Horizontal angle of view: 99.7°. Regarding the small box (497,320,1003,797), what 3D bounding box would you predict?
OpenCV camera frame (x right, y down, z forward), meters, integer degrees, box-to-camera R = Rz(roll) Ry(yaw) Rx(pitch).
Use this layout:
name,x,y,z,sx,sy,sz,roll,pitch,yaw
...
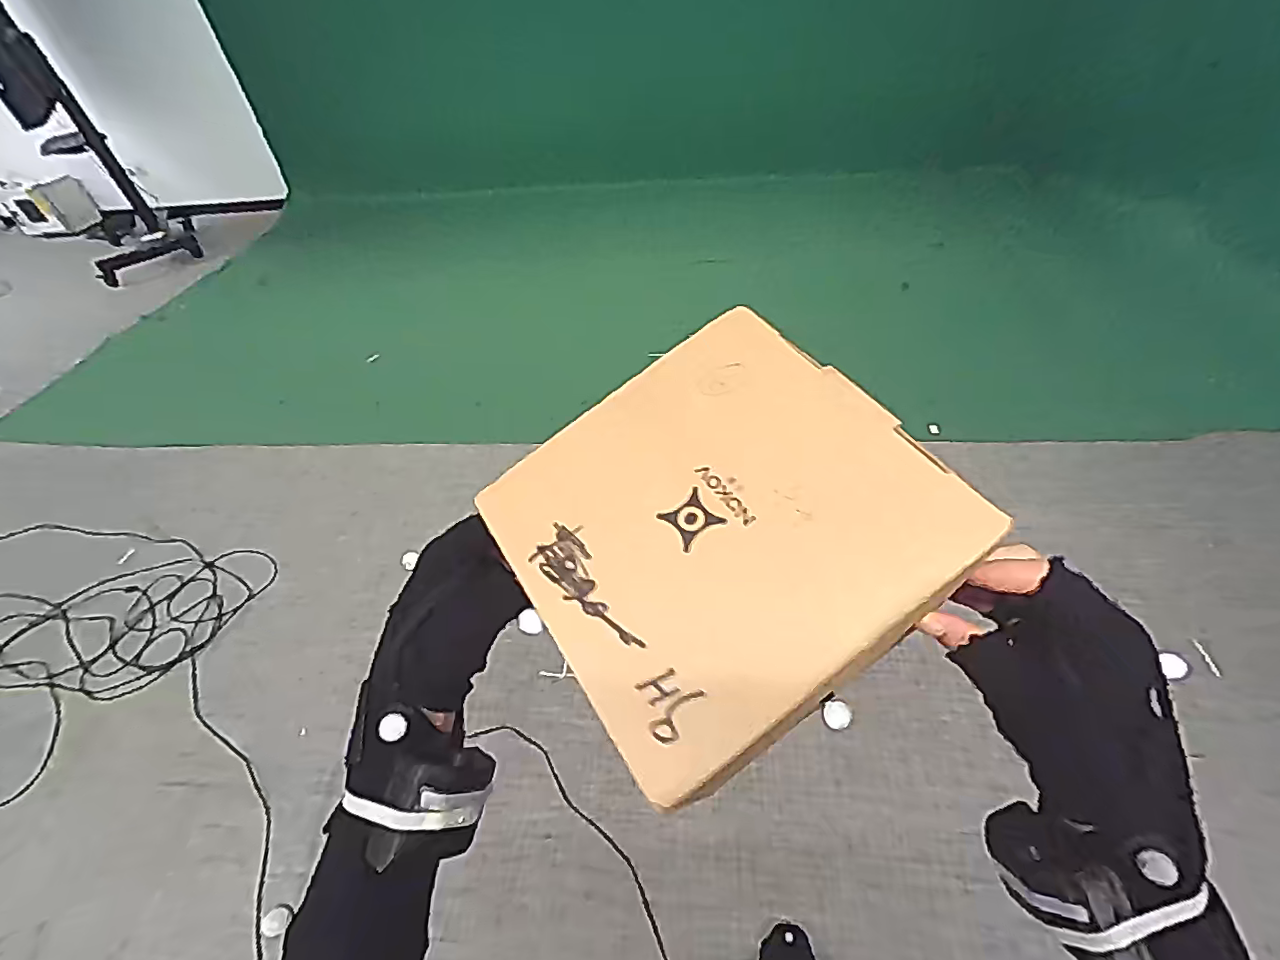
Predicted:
name,x,y,z,sx,sy,sz,roll,pitch,yaw
small box,0.054,0.050,0.320,0.179,0.176,0.168,-36,61,-6
